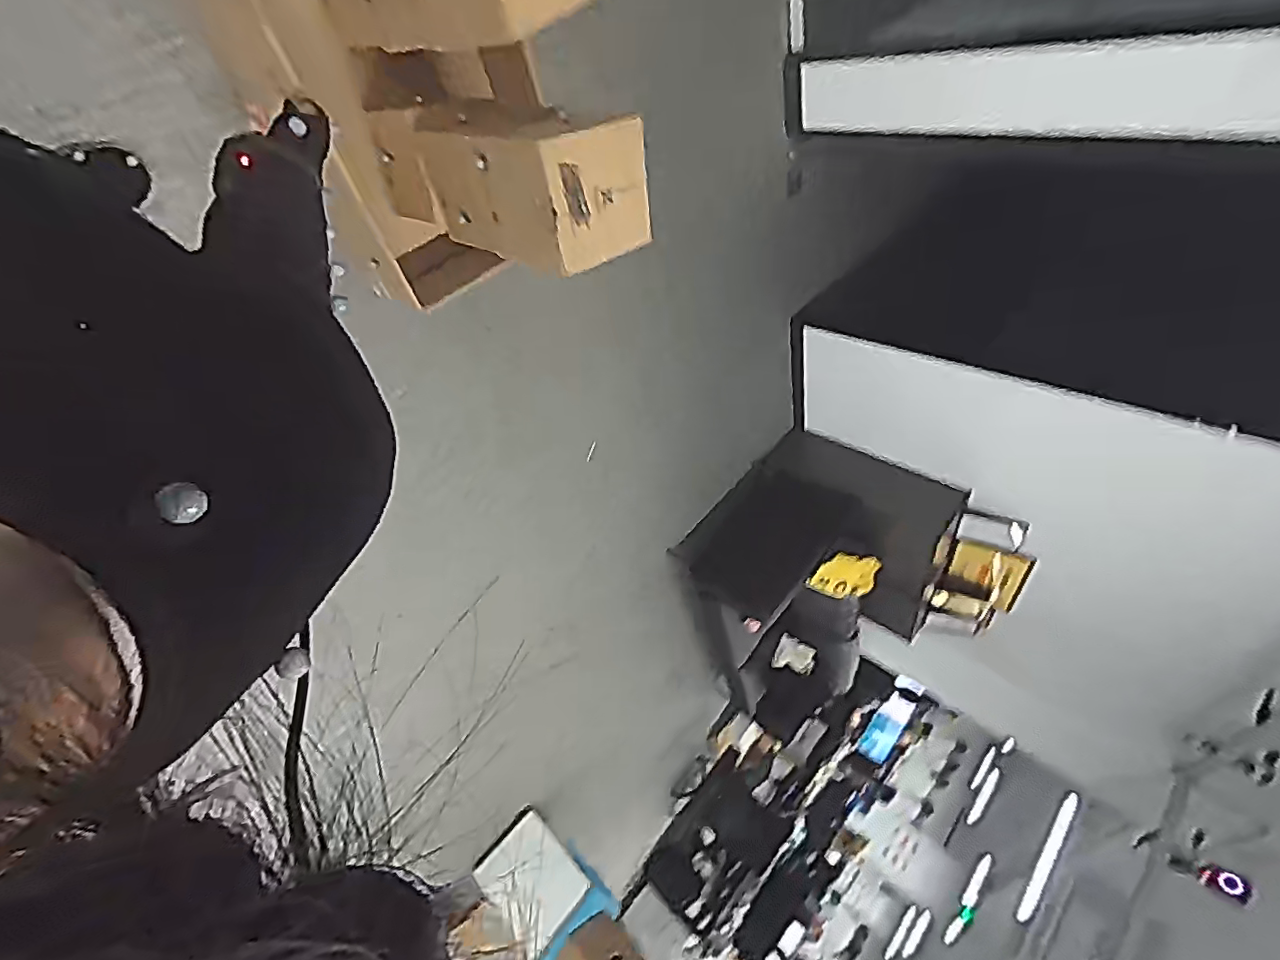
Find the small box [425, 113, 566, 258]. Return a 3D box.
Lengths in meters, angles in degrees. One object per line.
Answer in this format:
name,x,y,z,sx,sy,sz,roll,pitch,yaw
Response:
small box,-0.221,-0.480,0.875,0.179,0.176,0.168,-37,139,-28

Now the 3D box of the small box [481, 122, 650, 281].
small box,-0.108,-0.407,0.781,0.179,0.176,0.168,-35,139,-30

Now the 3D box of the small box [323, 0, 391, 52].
small box,-0.365,-0.753,0.787,0.179,0.176,0.168,-43,141,-21

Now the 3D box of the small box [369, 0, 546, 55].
small box,-0.258,-0.671,0.692,0.179,0.176,0.168,-43,142,-21
